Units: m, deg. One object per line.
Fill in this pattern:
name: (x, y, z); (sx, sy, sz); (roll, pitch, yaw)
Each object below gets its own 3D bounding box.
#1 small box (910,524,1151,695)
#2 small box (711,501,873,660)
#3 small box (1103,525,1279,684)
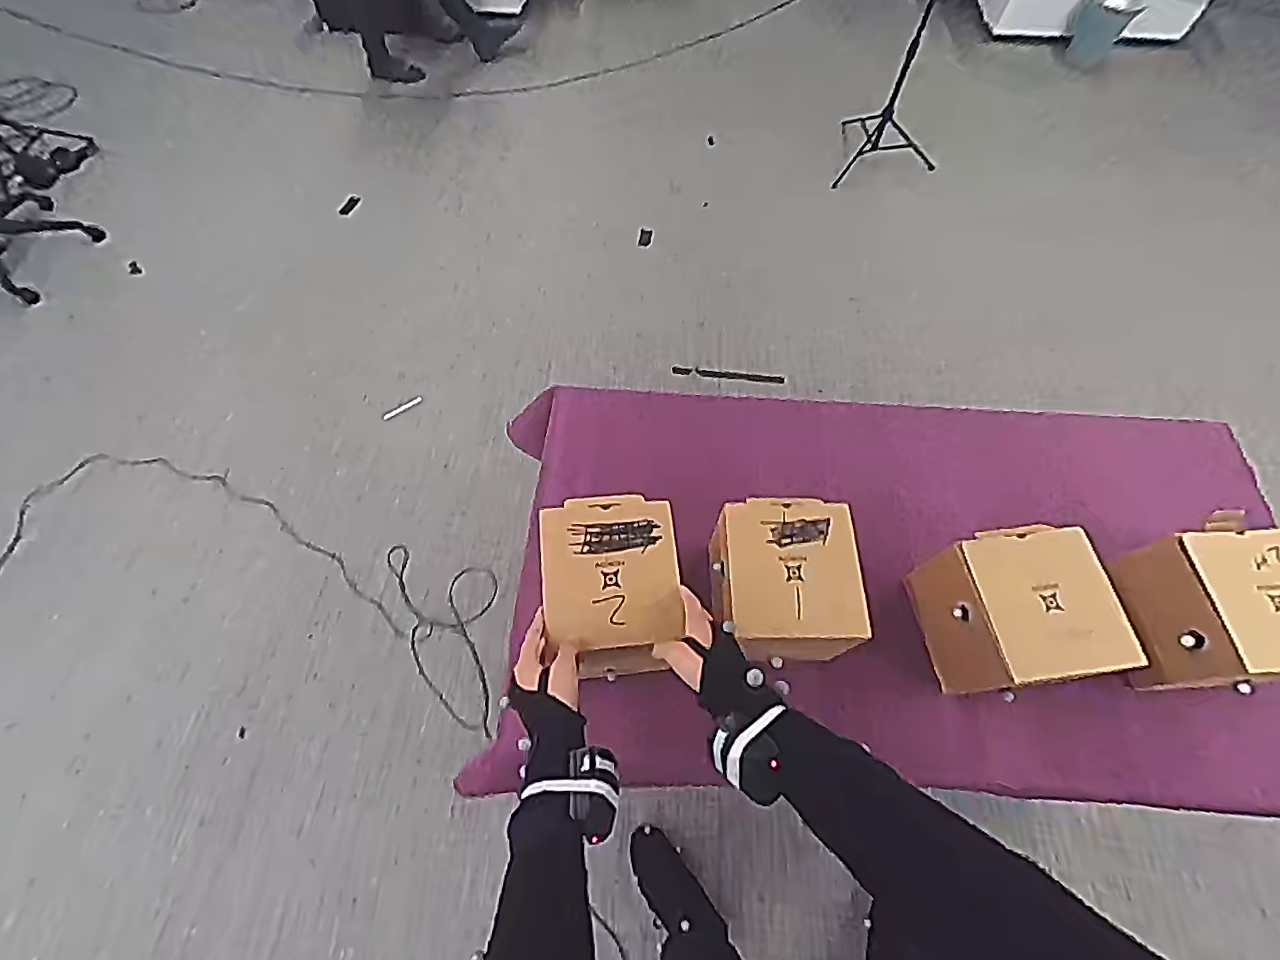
small box: (0.494, 0.177, 0.722); (0.168, 0.176, 0.179); (-6, 63, -2)
small box: (0.190, 0.142, 0.738); (0.168, 0.176, 0.179); (0, 64, 0)
small box: (0.771, 0.173, 0.722); (0.168, 0.176, 0.179); (-3, 62, -1)
